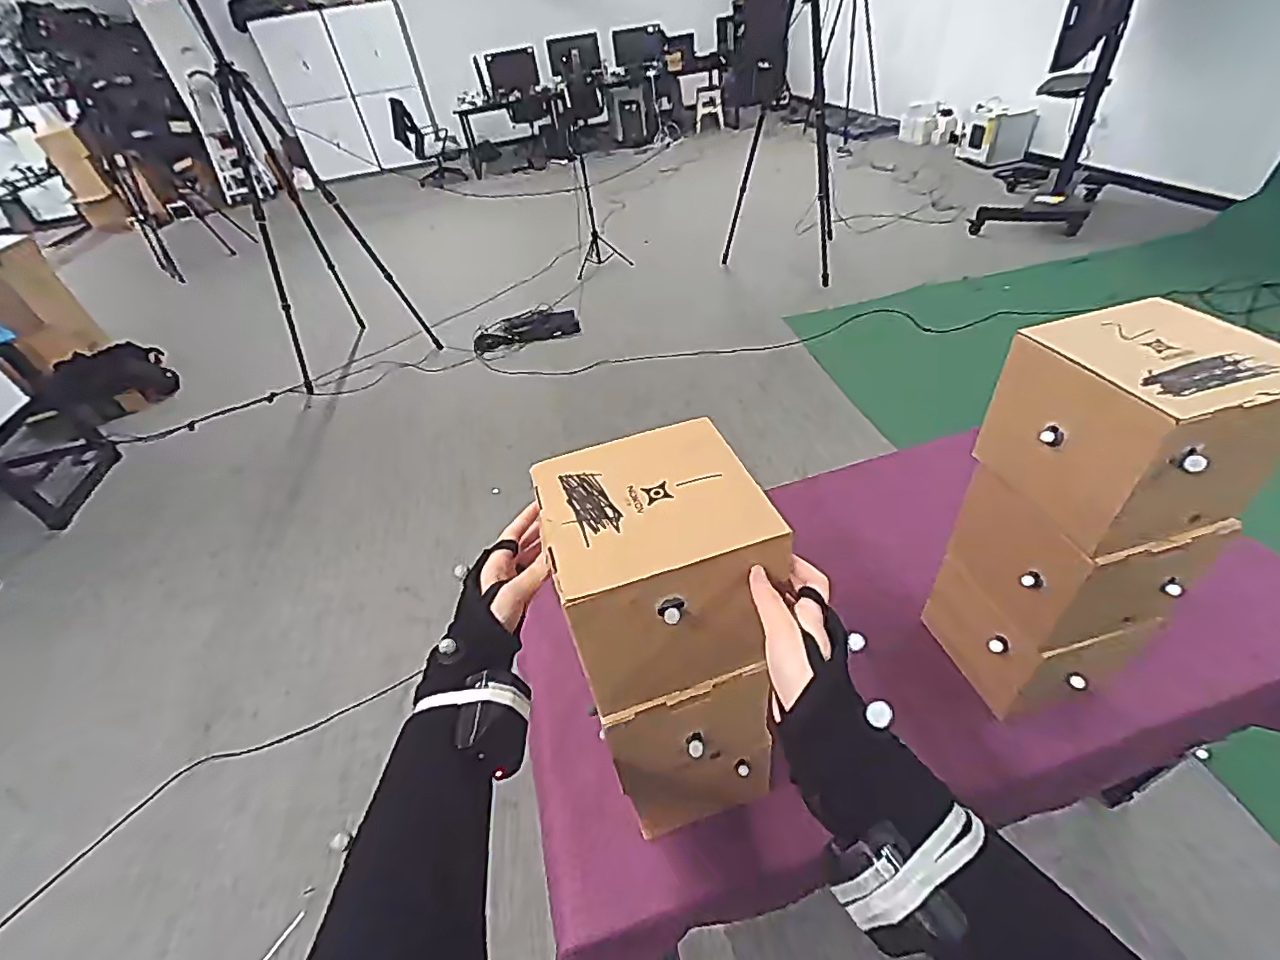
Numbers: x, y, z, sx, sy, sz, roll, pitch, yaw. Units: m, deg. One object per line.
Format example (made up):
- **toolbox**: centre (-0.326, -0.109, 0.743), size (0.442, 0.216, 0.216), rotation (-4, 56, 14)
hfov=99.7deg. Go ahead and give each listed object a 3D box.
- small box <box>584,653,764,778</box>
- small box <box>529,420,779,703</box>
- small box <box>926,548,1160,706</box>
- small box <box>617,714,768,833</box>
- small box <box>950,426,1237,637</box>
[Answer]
- **small box**: centre (0.026, 0.202, 0.602), size (0.168, 0.176, 0.179), rotation (-17, 42, -8)
- **small box**: centre (0.012, 0.074, 0.498), size (0.179, 0.176, 0.168), rotation (-16, 41, -8)
- **small box**: centre (0.537, 0.189, 0.752), size (0.168, 0.176, 0.179), rotation (-15, 41, -5)
- **small box**: centre (0.054, 0.325, 0.707), size (0.179, 0.176, 0.168), rotation (-17, 41, -8)
- **small box**: centre (0.513, 0.066, 0.648), size (0.168, 0.176, 0.179), rotation (-14, 41, -4)
